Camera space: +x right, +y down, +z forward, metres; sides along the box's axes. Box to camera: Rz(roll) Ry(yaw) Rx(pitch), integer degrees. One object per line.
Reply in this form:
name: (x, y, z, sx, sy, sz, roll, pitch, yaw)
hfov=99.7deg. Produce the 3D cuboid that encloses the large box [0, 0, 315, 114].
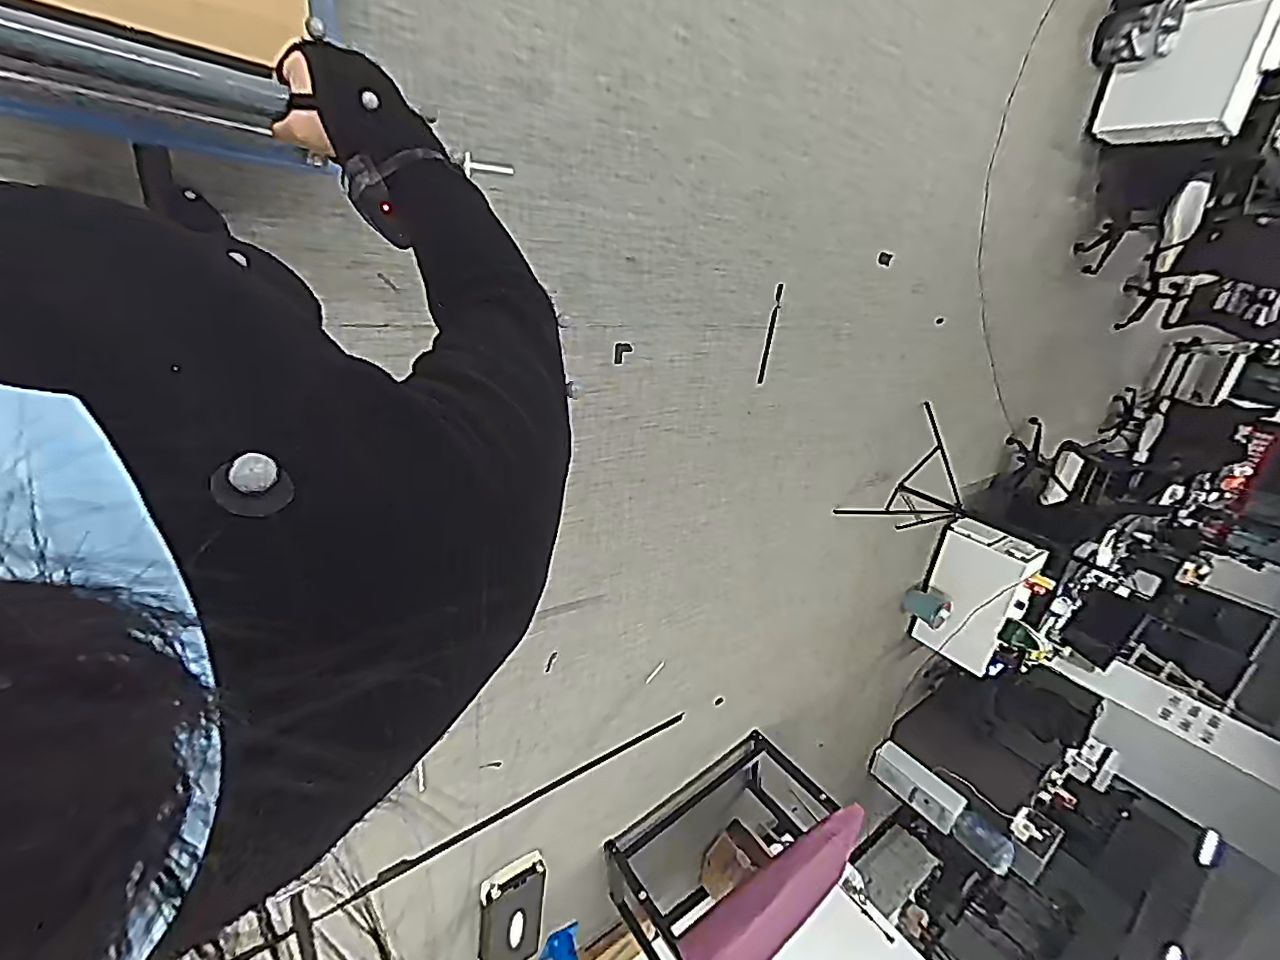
large box: (-0.677, -0.707, 0.677, 0.408, 0.320, 0.320, -9, 117, -38)
